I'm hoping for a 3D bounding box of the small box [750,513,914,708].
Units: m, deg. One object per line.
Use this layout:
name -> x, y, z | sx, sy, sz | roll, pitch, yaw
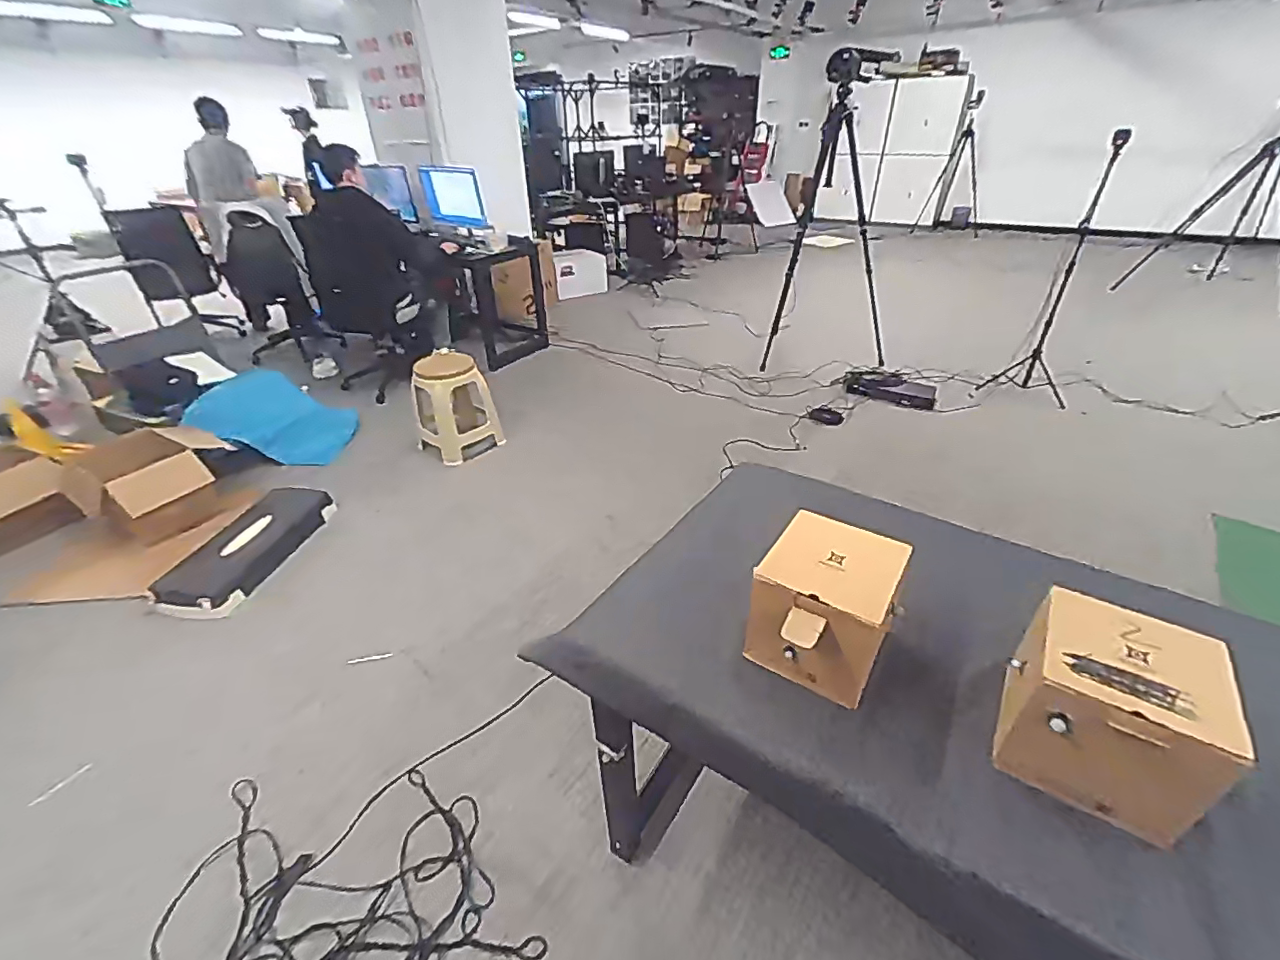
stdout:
small box -> 0.269, 0.182, 0.777 | 0.168, 0.176, 0.179 | 20, 39, 29
